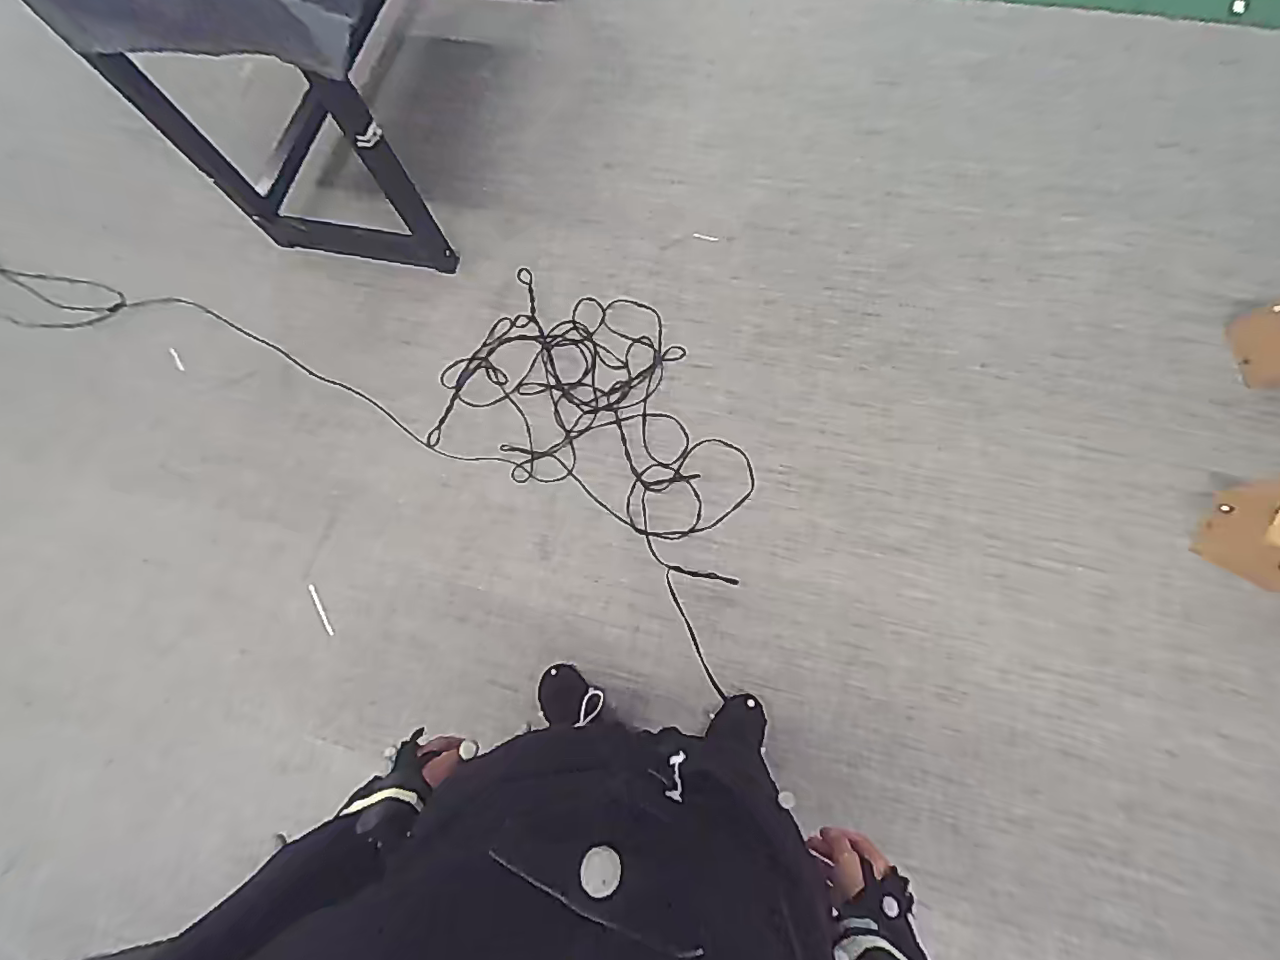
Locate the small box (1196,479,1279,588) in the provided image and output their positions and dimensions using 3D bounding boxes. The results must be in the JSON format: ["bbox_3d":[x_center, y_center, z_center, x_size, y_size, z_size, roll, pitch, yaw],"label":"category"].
[{"bbox_3d":[1.316,0.108,1.096,0.179,0.176,0.168,31,79,13],"label":"small box"}]
